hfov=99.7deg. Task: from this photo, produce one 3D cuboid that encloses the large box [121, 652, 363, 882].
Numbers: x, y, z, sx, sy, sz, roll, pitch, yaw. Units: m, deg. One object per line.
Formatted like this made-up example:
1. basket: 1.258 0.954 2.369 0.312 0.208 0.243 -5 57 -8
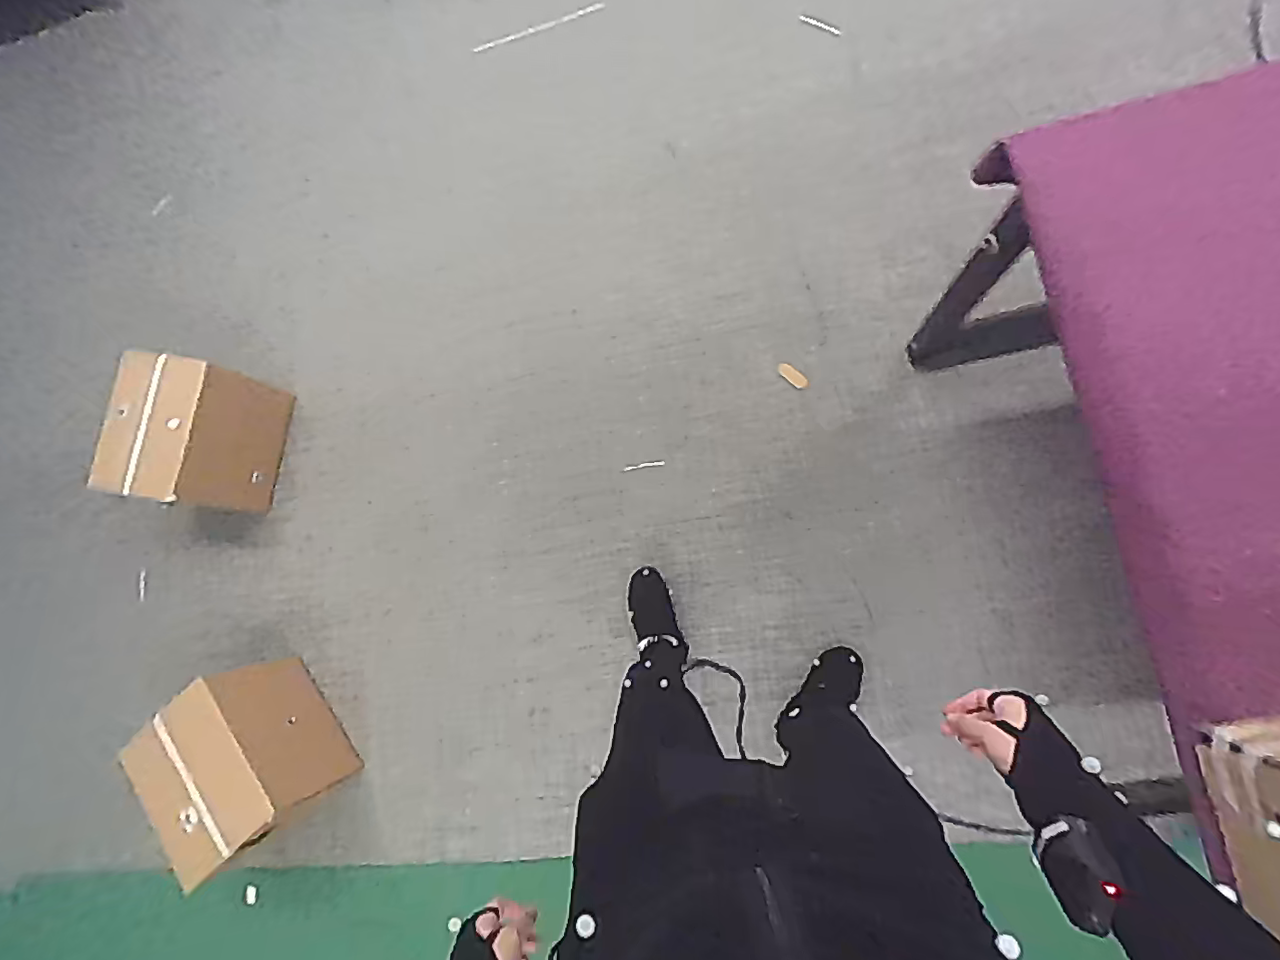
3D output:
1. large box: -1.067 0.746 1.480 0.320 0.320 0.408 -42 77 4
